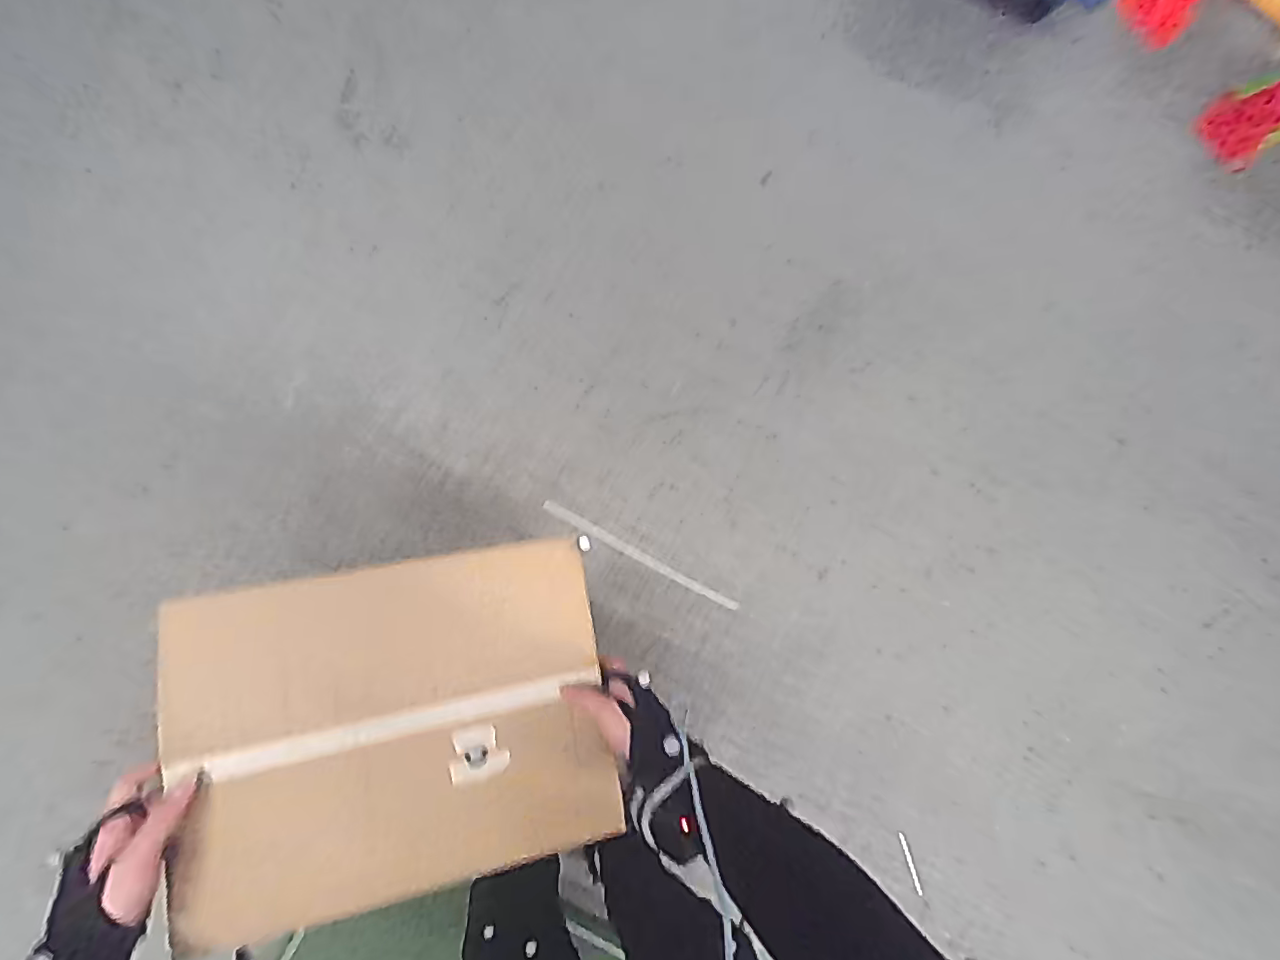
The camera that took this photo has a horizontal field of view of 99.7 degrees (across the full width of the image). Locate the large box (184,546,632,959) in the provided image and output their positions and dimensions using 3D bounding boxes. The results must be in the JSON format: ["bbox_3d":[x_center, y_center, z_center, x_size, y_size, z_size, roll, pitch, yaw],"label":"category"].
[{"bbox_3d":[-0.259,0.282,0.685,0.408,0.320,0.320,-7,80,-15],"label":"large box"}]
